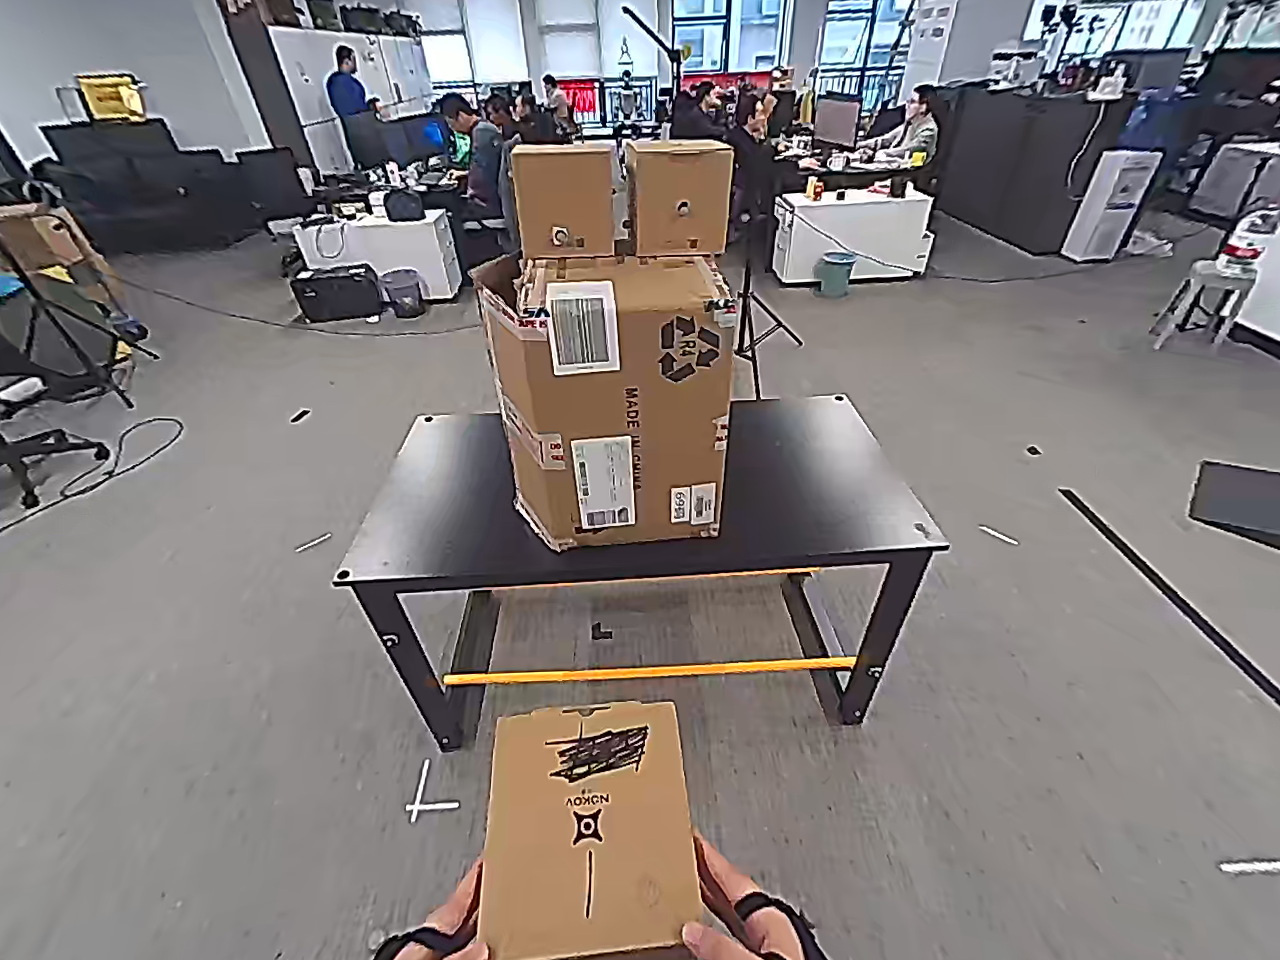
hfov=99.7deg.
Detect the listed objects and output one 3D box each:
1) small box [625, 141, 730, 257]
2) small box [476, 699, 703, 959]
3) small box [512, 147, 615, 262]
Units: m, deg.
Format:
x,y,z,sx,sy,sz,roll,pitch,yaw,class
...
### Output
x,y,z,sx,sy,sz,roll,pitch,yaw,class
0.063,-0.521,1.004,0.168,0.176,0.179,-4,38,-6,small box
-0.041,0.330,0.499,0.168,0.176,0.179,-4,42,-3,small box
-0.137,-0.508,0.995,0.168,0.176,0.179,-6,36,-6,small box
